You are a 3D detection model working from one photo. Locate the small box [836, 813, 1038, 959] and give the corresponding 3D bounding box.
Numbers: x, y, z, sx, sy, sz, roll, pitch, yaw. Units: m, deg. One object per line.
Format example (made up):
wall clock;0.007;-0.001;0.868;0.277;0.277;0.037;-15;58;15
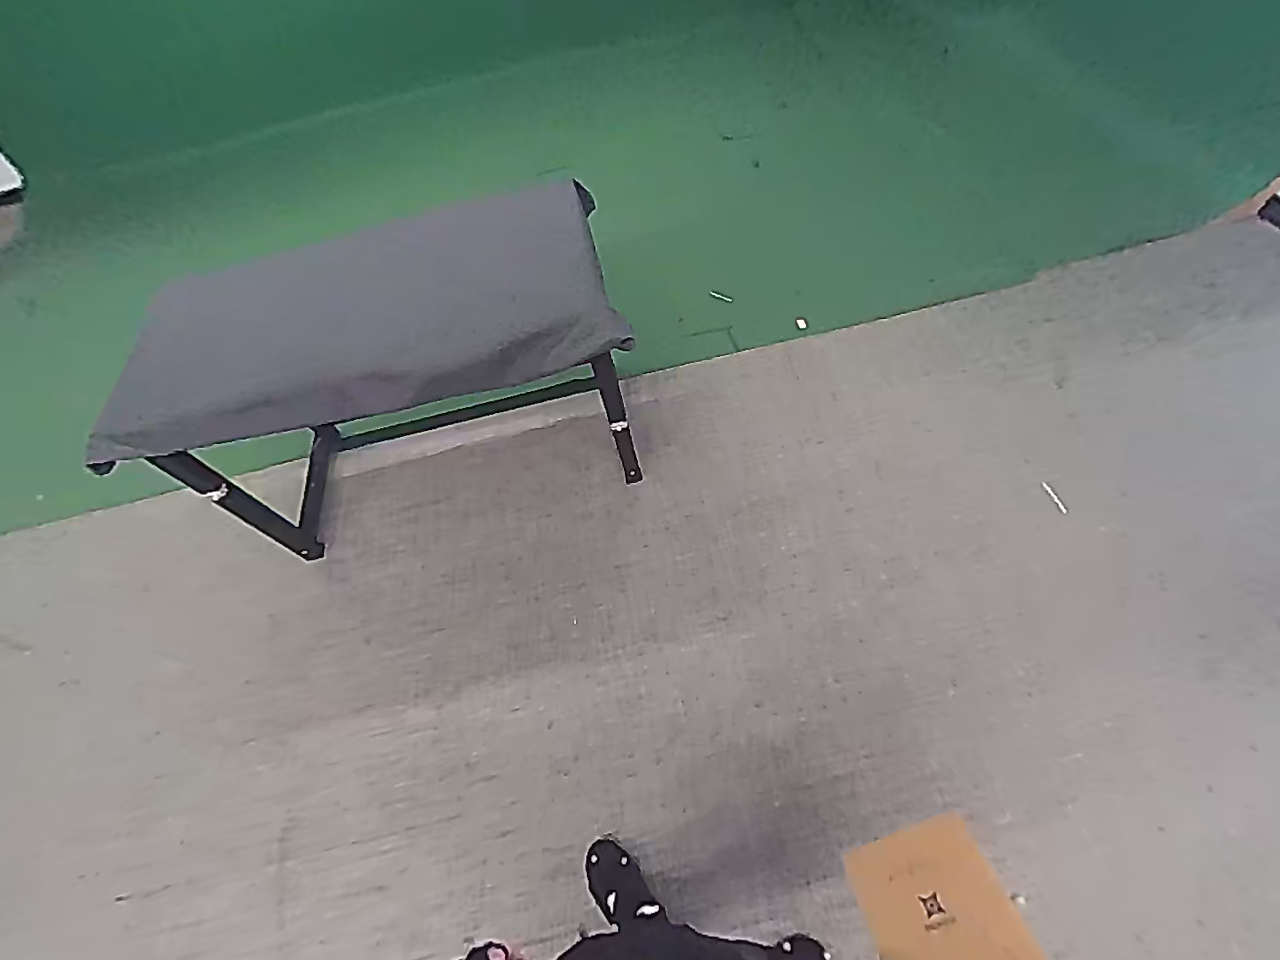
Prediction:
small box;0.376;0.564;0.668;0.168;0.176;0.179;-27;26;8
